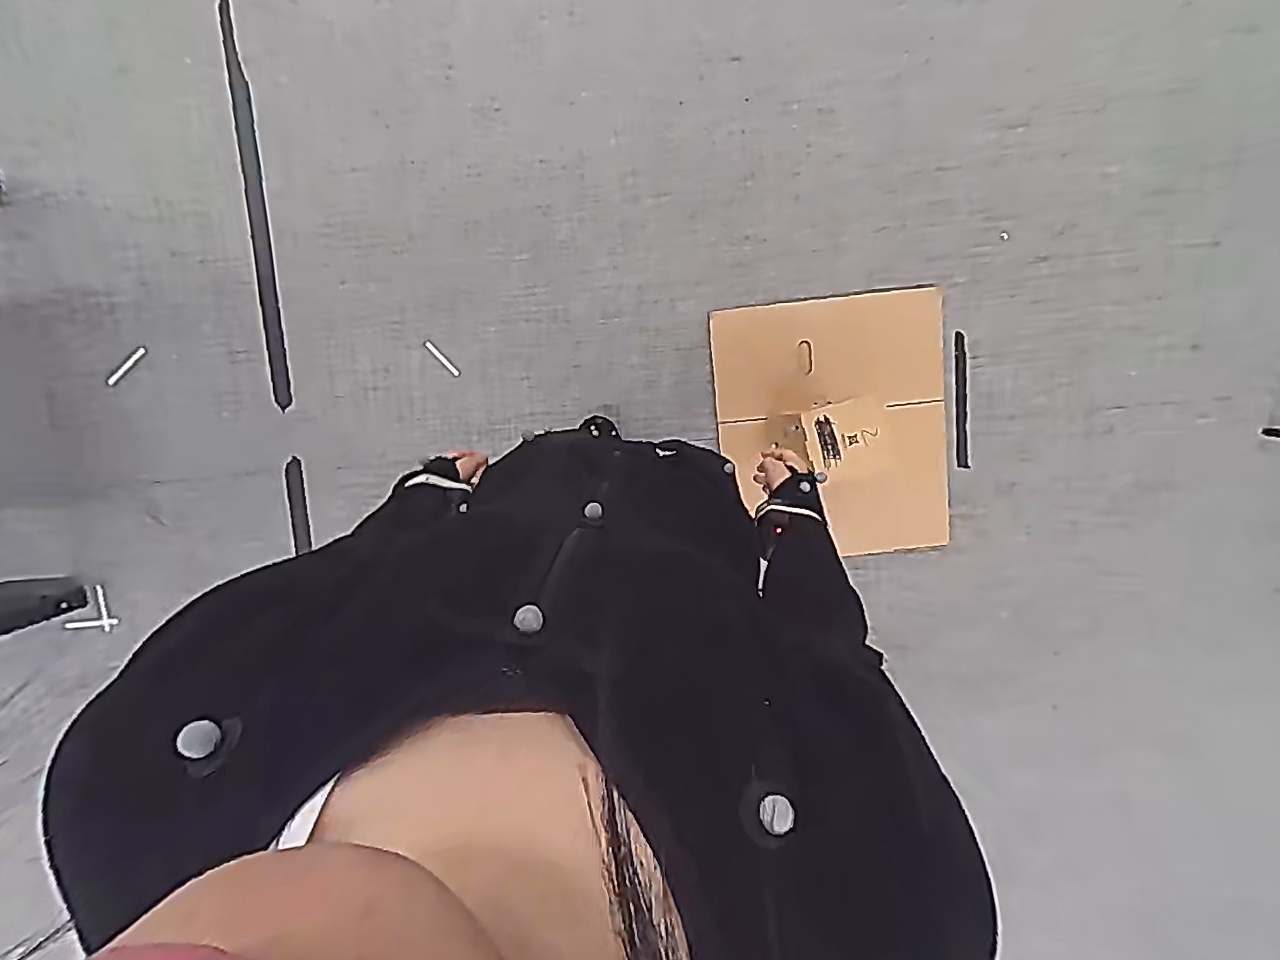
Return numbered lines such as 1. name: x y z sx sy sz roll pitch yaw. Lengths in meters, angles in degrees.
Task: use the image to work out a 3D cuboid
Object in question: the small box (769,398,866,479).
1. small box: 0.444 -0.107 1.373 0.179 0.176 0.168 -13 95 3
